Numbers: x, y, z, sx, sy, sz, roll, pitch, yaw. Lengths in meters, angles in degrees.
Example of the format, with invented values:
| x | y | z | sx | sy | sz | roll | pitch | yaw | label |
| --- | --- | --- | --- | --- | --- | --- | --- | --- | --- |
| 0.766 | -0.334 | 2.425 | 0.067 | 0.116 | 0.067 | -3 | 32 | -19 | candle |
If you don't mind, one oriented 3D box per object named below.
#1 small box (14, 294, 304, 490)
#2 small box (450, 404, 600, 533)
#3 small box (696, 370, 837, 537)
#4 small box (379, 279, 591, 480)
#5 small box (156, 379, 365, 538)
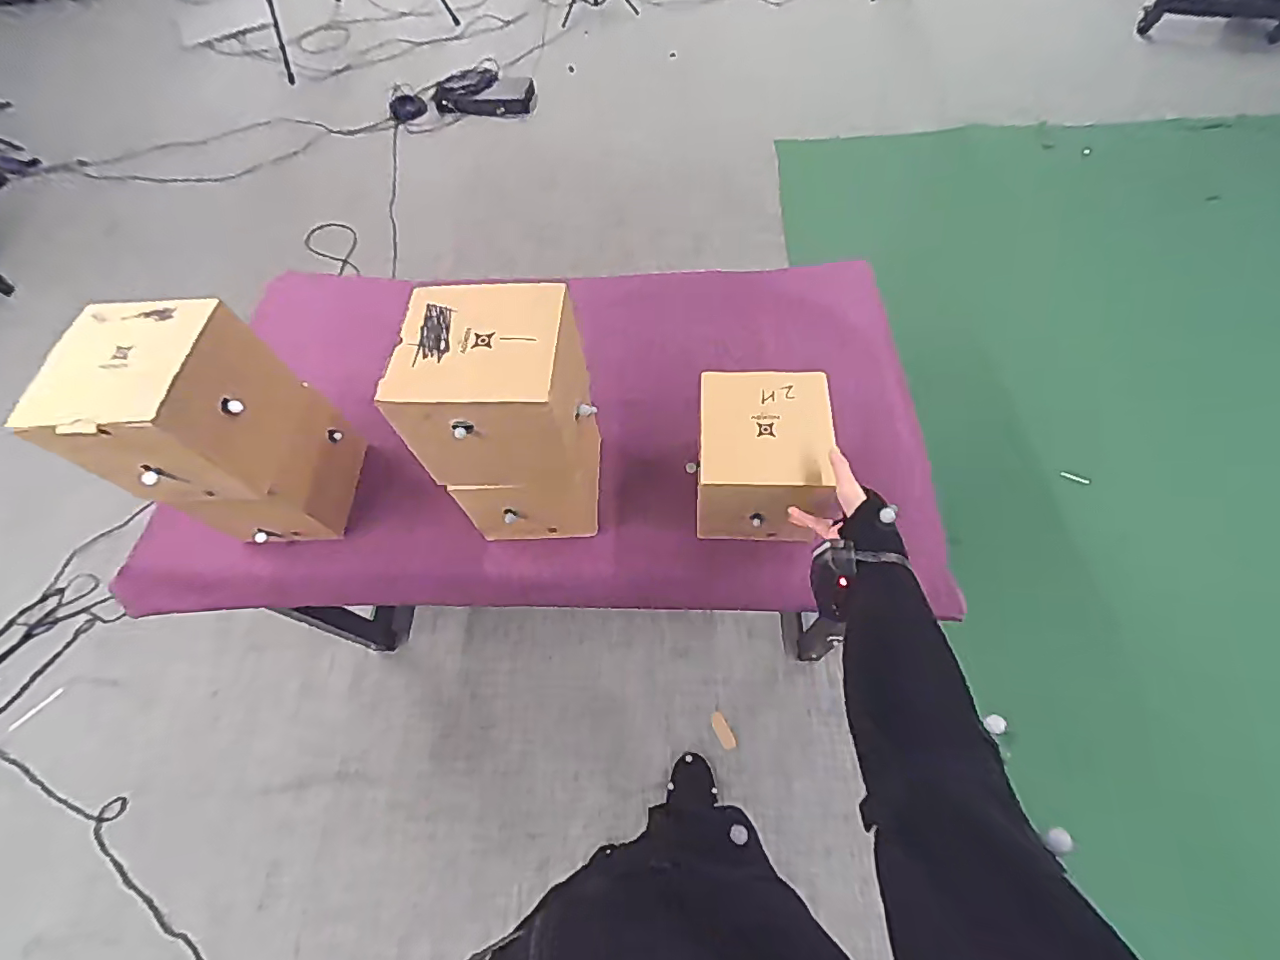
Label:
| x | y | z | sx | sy | sz | roll | pitch | yaw | label |
| --- | --- | --- | --- | --- | --- | --- | --- | --- | --- |
| -0.548 | -0.097 | 0.652 | 0.168 | 0.176 | 0.179 | -1 | 62 | 4 | small box |
| -0.150 | -0.030 | 0.775 | 0.168 | 0.176 | 0.179 | -3 | 60 | 3 | small box |
| 0.165 | -0.031 | 0.749 | 0.168 | 0.176 | 0.179 | 2 | 60 | 5 | small box |
| -0.162 | -0.110 | 0.631 | 0.179 | 0.176 | 0.168 | 1 | 60 | 4 | small box |
| -0.538 | -0.027 | 0.800 | 0.168 | 0.176 | 0.179 | -2 | 62 | 3 | small box |
